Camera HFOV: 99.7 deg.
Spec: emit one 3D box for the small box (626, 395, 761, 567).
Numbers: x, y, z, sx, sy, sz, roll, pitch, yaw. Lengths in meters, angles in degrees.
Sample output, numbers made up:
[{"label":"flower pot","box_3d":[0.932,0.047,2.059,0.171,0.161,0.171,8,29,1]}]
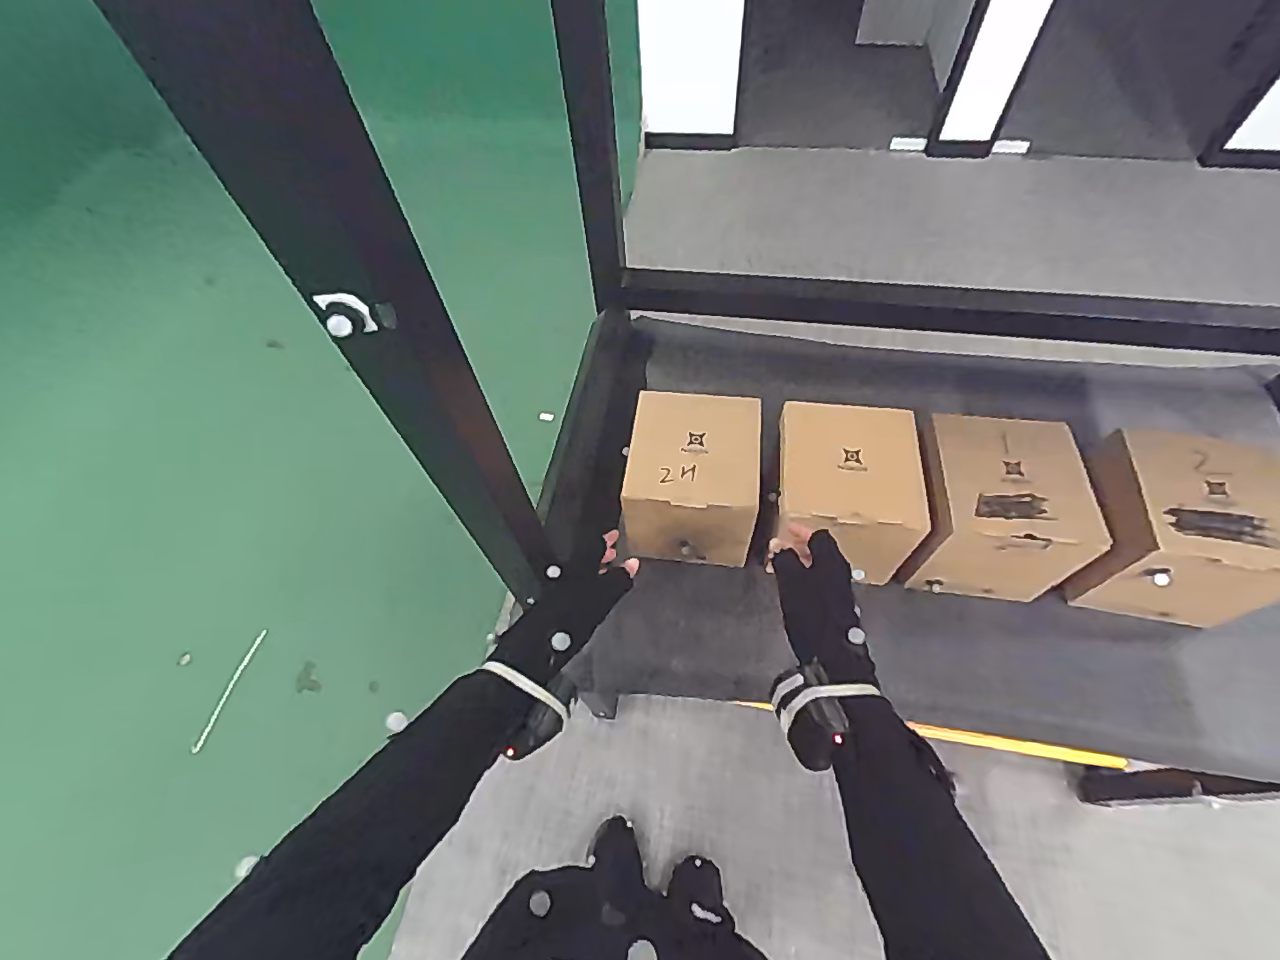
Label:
[{"label":"small box","box_3d":[0.078,0.003,0.771,0.168,0.176,0.179,4,57,7]}]
